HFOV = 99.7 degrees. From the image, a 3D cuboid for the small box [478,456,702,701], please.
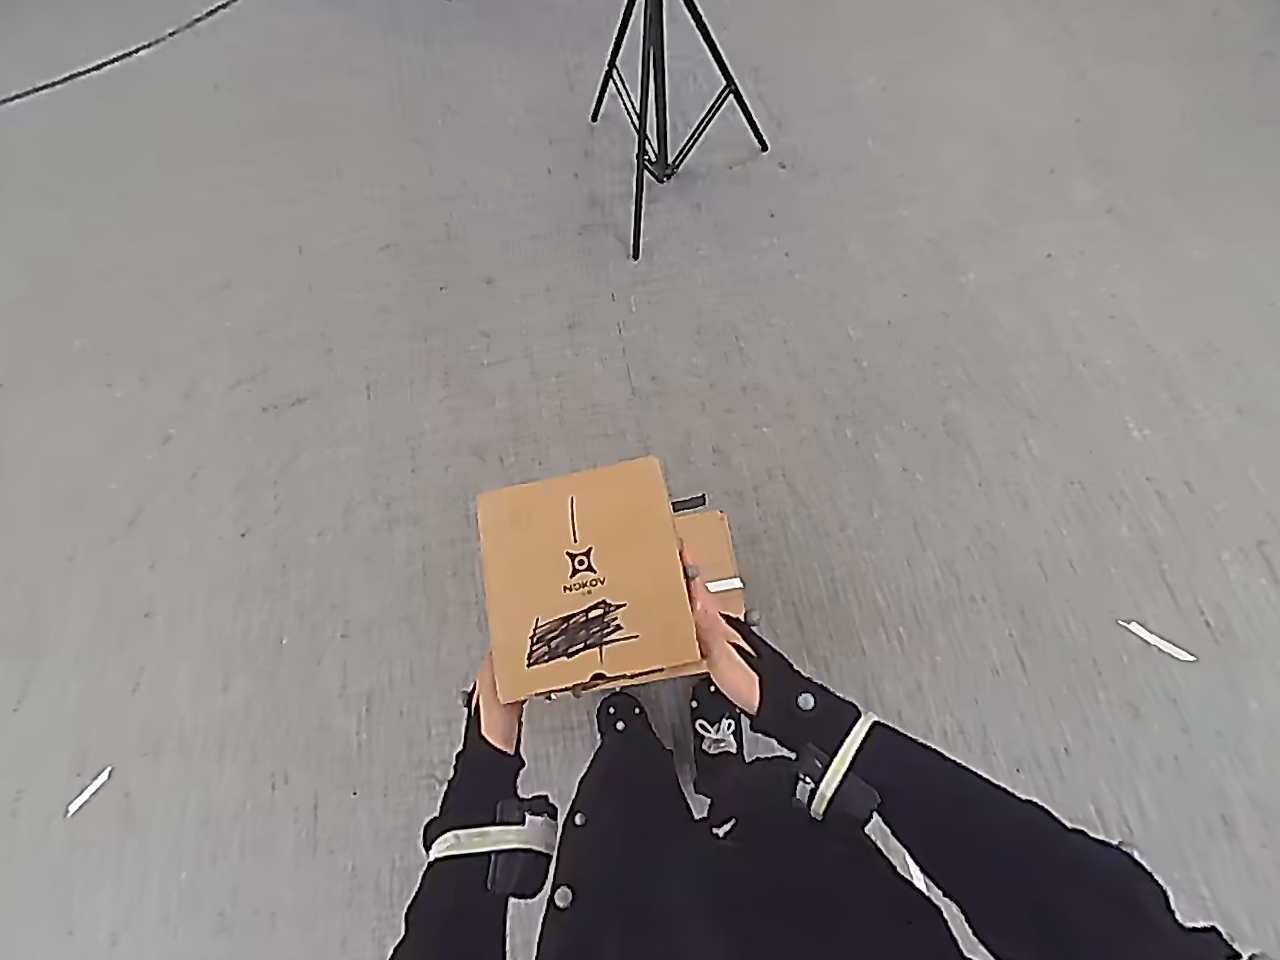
[{"bbox_3d":[-0.037,0.097,0.520,0.168,0.176,0.179,-13,73,4],"label":"small box"}]
